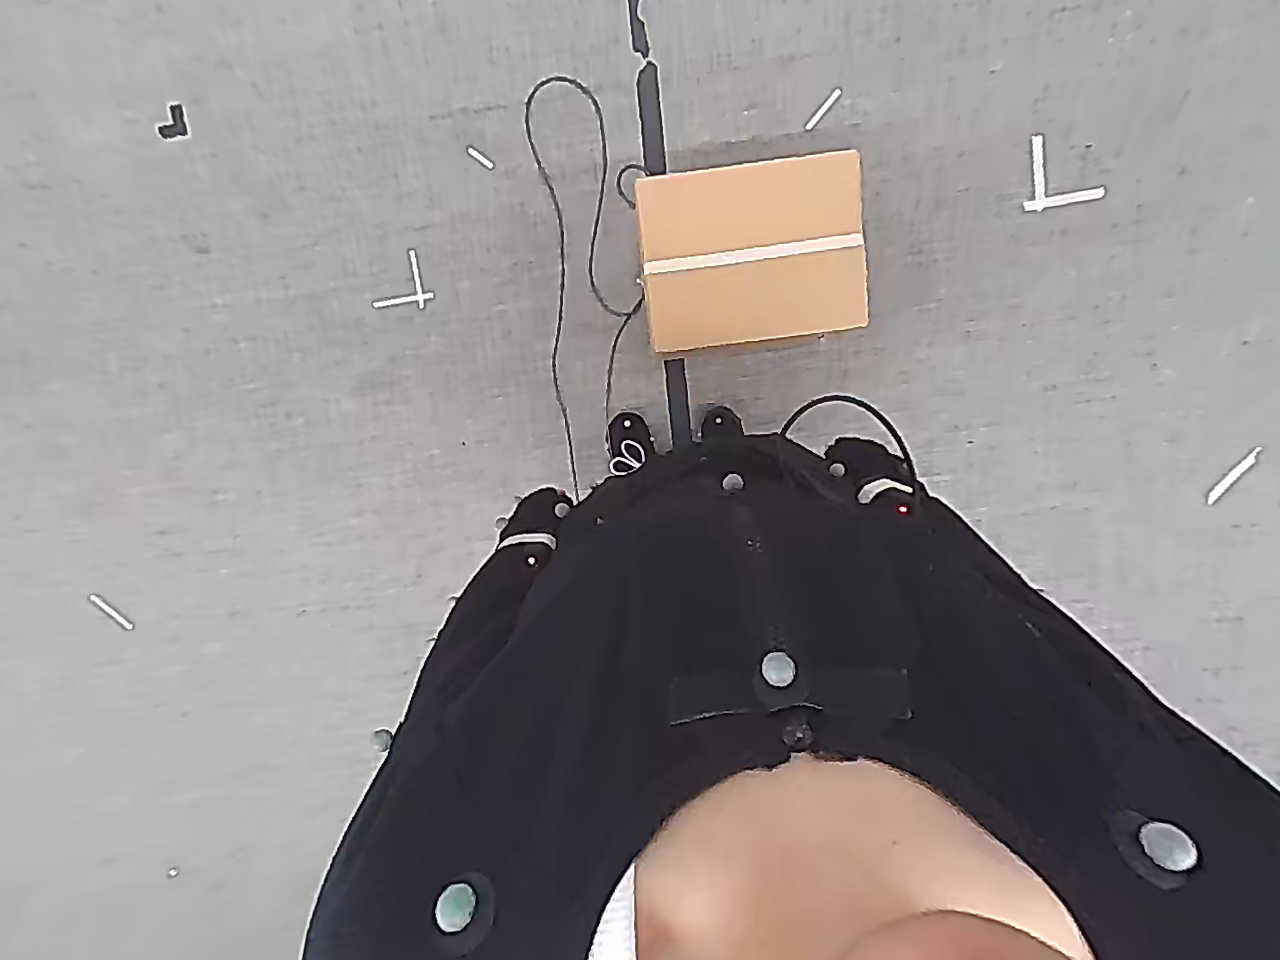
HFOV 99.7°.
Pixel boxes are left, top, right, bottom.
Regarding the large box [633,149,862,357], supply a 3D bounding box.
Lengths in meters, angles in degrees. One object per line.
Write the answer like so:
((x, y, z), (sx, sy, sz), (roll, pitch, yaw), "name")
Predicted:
((0.207, -0.447, 1.147), (0.408, 0.320, 0.320), (-7, 99, 2), "large box")
